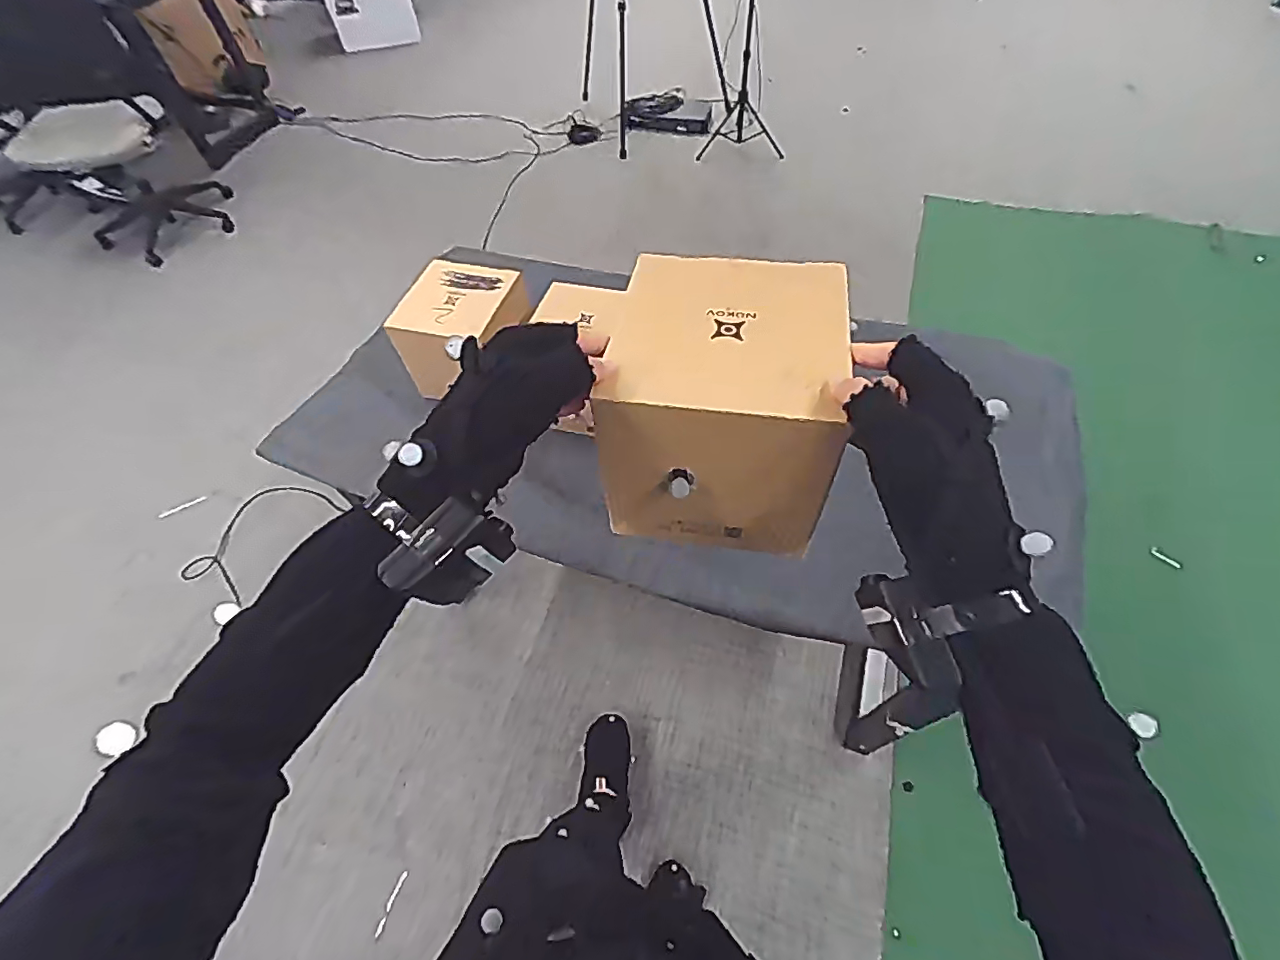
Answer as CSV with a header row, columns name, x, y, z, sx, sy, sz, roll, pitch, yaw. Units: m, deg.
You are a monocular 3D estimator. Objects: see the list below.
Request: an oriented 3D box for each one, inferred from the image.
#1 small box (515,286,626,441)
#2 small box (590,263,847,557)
name,x,y,z,sx,sy,sz,roll,pitch,yaw
small box,-0.082,-0.187,0.891,0.168,0.176,0.179,12,57,11
small box,0.067,-0.056,0.450,0.168,0.176,0.179,7,52,9
